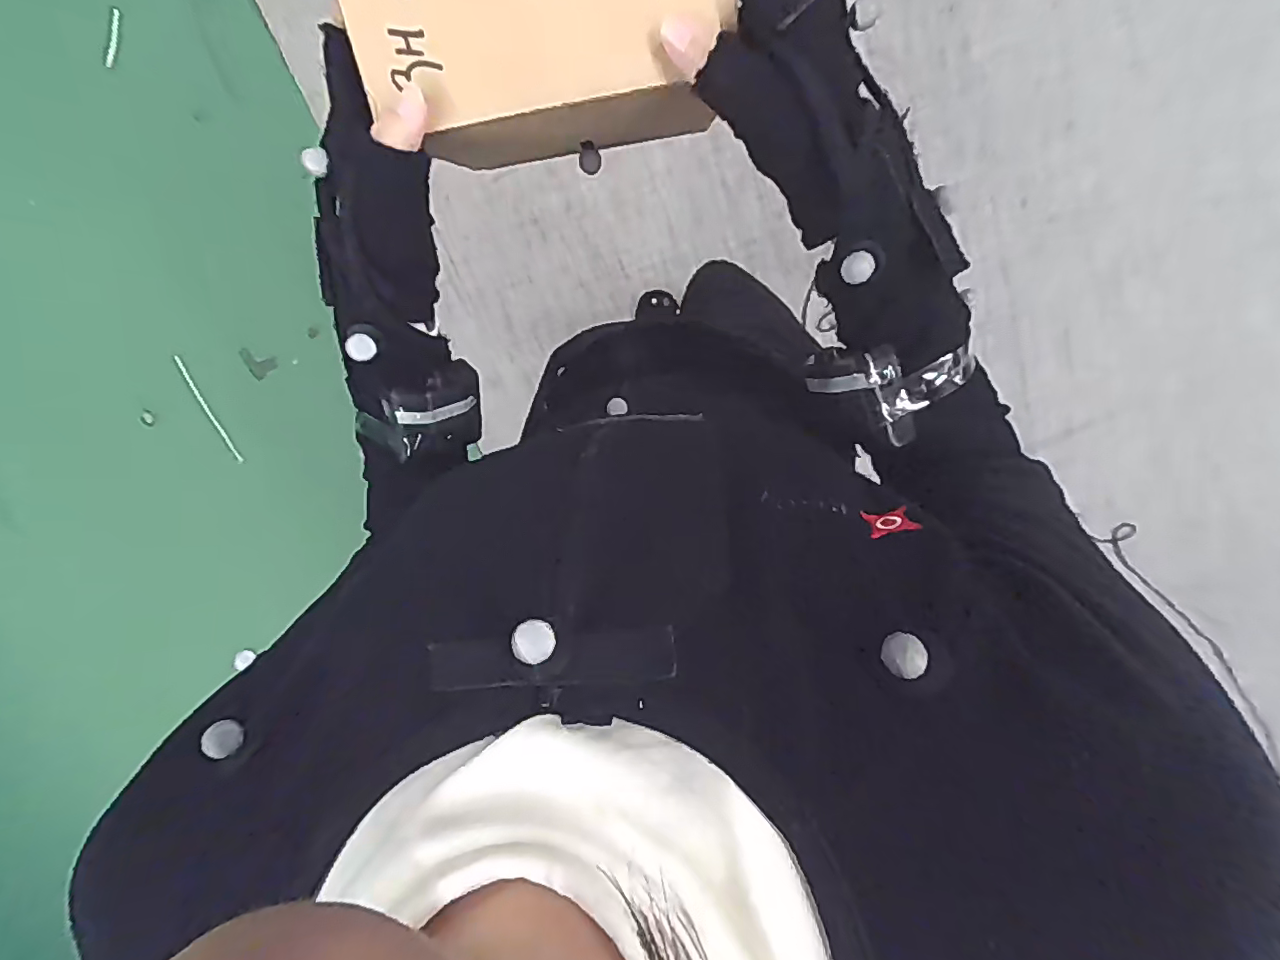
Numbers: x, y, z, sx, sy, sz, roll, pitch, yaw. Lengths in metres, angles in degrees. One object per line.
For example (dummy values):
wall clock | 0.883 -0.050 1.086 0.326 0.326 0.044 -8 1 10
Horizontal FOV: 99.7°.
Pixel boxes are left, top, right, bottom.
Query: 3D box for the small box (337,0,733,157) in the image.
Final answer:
small box | -0.053 -0.288 0.292 0.179 0.176 0.168 -7 114 5
